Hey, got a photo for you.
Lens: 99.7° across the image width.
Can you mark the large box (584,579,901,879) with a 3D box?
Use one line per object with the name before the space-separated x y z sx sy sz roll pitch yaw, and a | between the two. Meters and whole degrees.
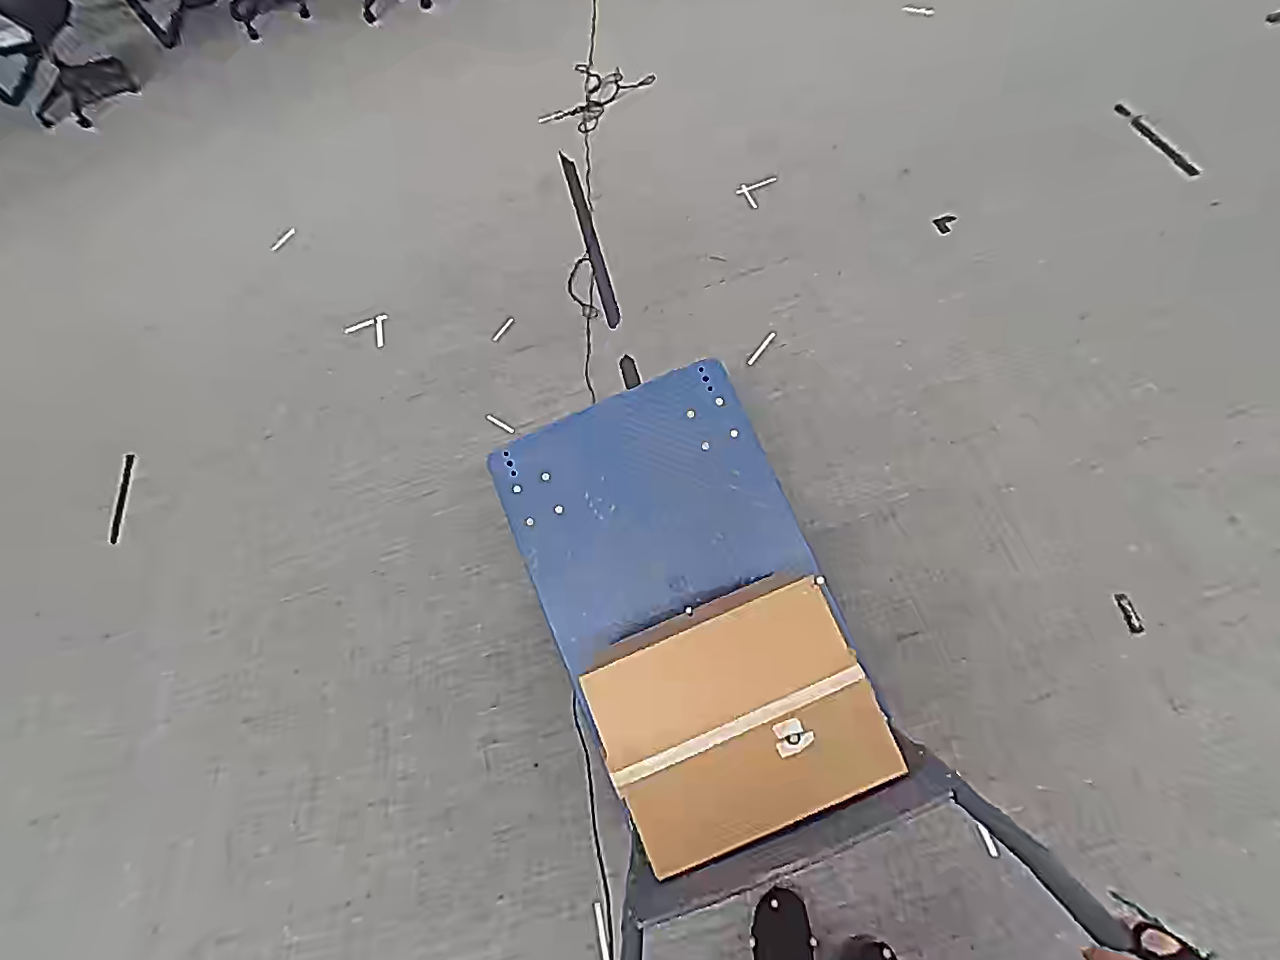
large box | 0.158 0.399 0.970 0.408 0.320 0.320 -24 81 -1
